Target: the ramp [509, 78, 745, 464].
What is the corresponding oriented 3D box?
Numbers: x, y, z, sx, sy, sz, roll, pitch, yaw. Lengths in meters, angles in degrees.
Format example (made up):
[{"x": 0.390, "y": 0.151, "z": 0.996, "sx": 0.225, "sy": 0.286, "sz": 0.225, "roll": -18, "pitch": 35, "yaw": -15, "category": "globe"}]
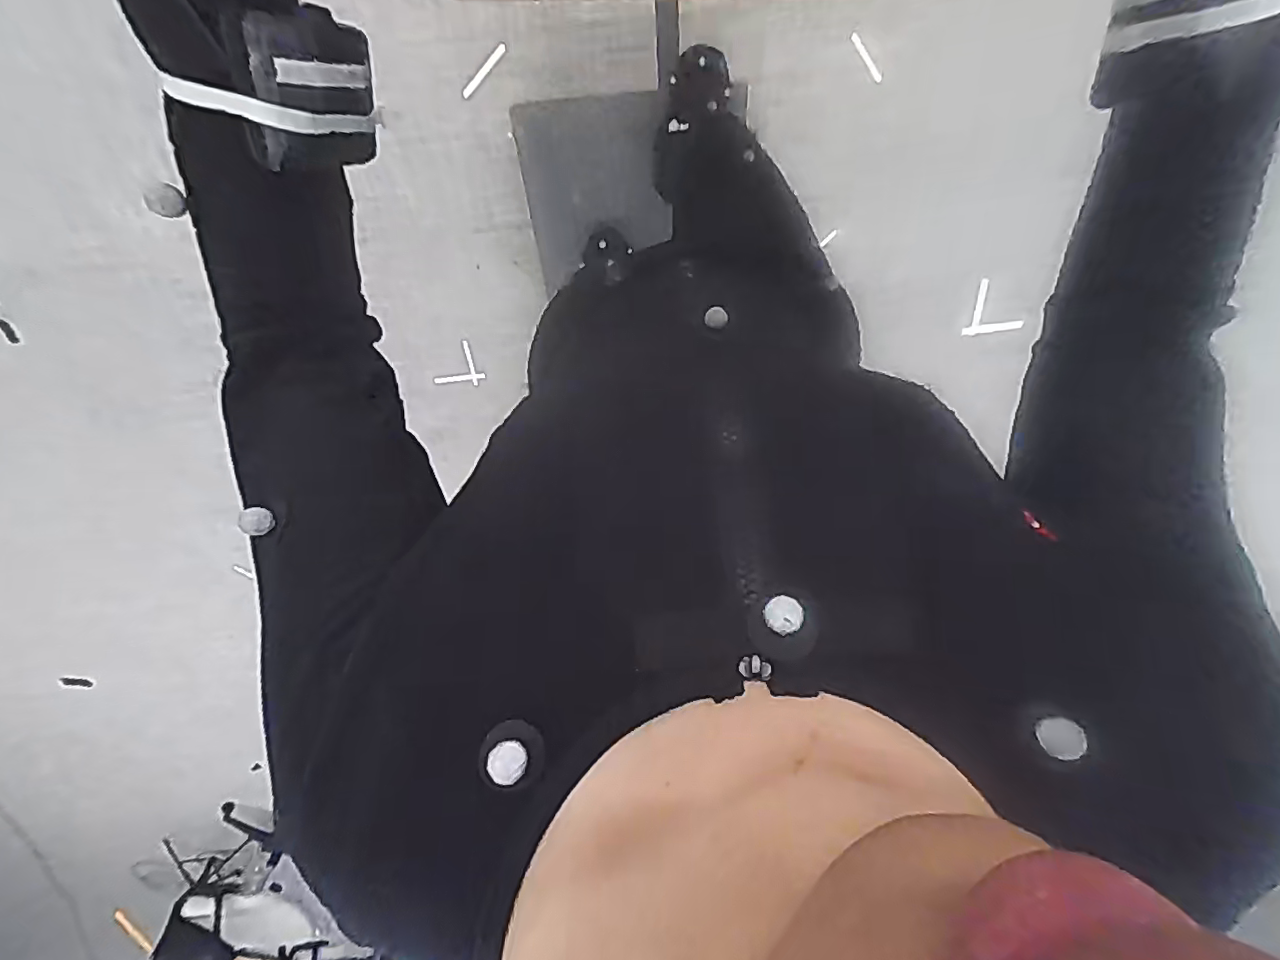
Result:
[{"x": 0.014, "y": -0.436, "z": 1.439, "sx": 0.509, "sy": 0.206, "sz": 0.991, "roll": -7, "pitch": 123, "yaw": 2, "category": "ramp"}]
